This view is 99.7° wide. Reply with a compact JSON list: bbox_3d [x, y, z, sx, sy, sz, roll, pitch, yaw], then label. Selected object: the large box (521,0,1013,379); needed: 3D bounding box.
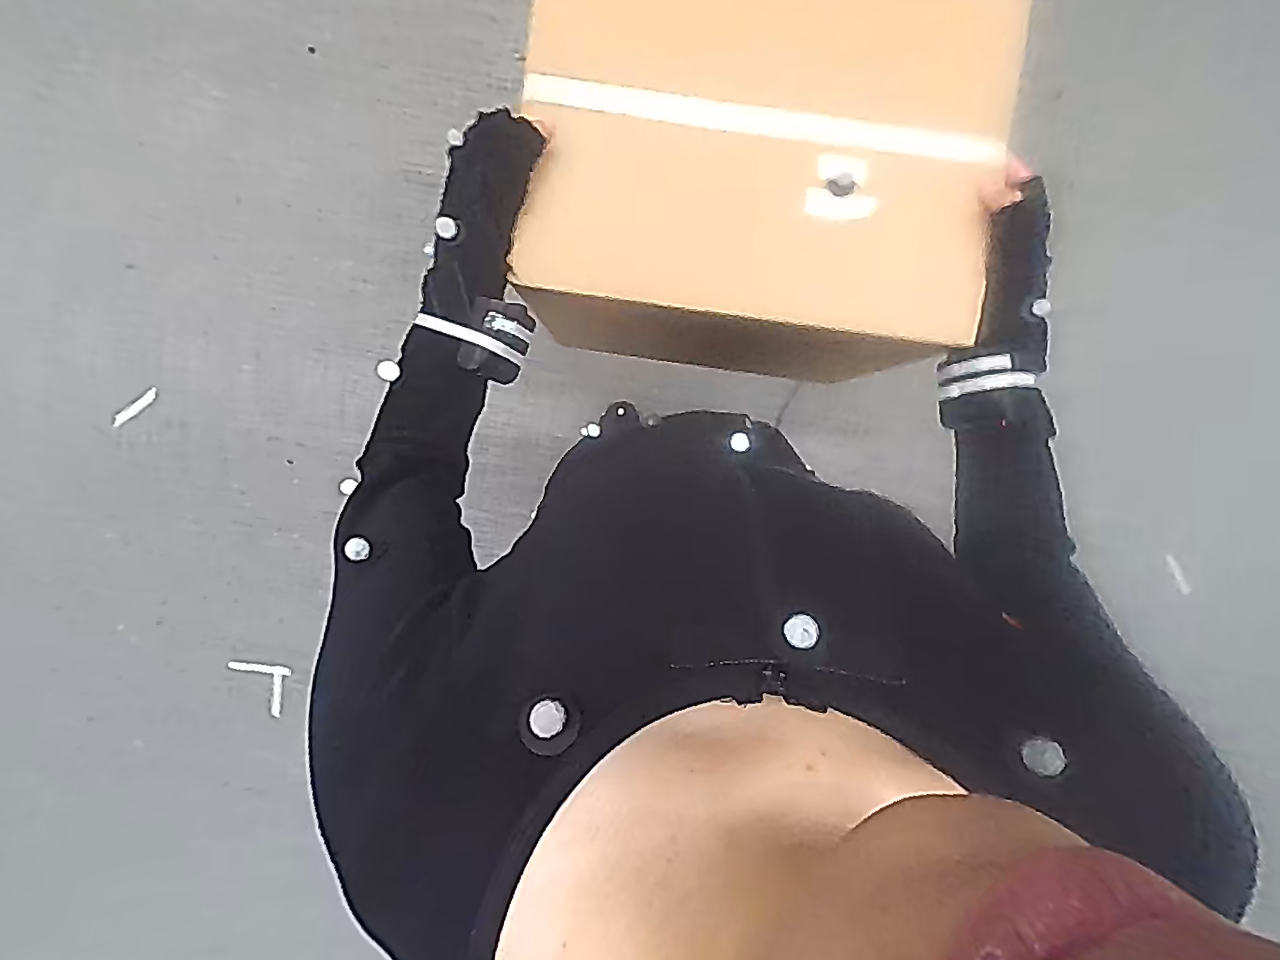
[{"bbox_3d":[0.104,-0.308,0.613,0.408,0.320,0.320,7,94,-2],"label":"large box"}]
